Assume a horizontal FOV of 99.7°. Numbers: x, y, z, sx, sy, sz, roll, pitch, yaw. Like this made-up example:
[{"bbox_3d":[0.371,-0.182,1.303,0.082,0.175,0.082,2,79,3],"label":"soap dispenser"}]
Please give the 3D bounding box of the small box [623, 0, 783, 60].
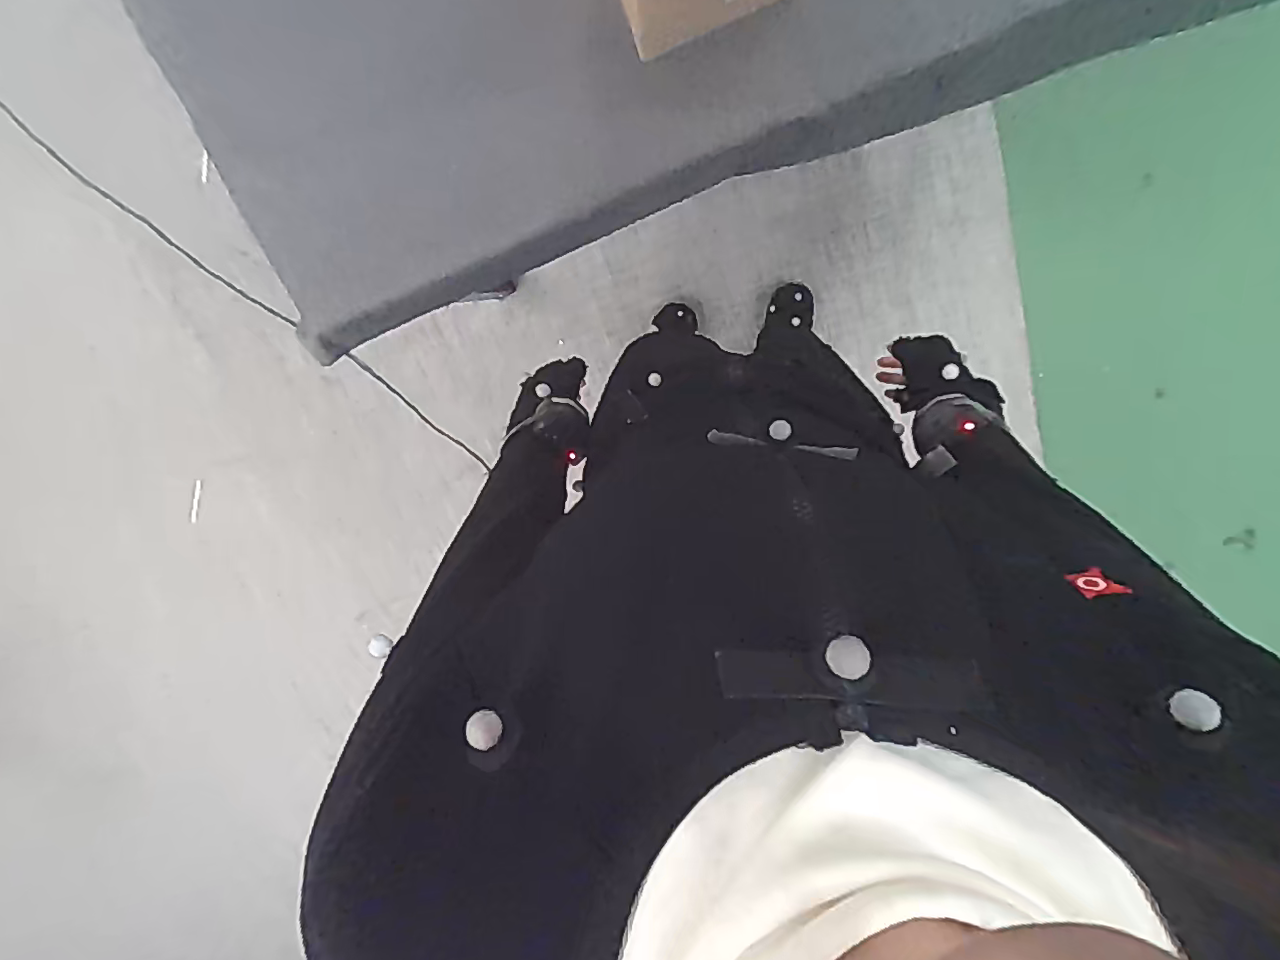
[{"bbox_3d":[0.054,-0.498,0.443,0.179,0.176,0.168,-19,107,10],"label":"small box"}]
